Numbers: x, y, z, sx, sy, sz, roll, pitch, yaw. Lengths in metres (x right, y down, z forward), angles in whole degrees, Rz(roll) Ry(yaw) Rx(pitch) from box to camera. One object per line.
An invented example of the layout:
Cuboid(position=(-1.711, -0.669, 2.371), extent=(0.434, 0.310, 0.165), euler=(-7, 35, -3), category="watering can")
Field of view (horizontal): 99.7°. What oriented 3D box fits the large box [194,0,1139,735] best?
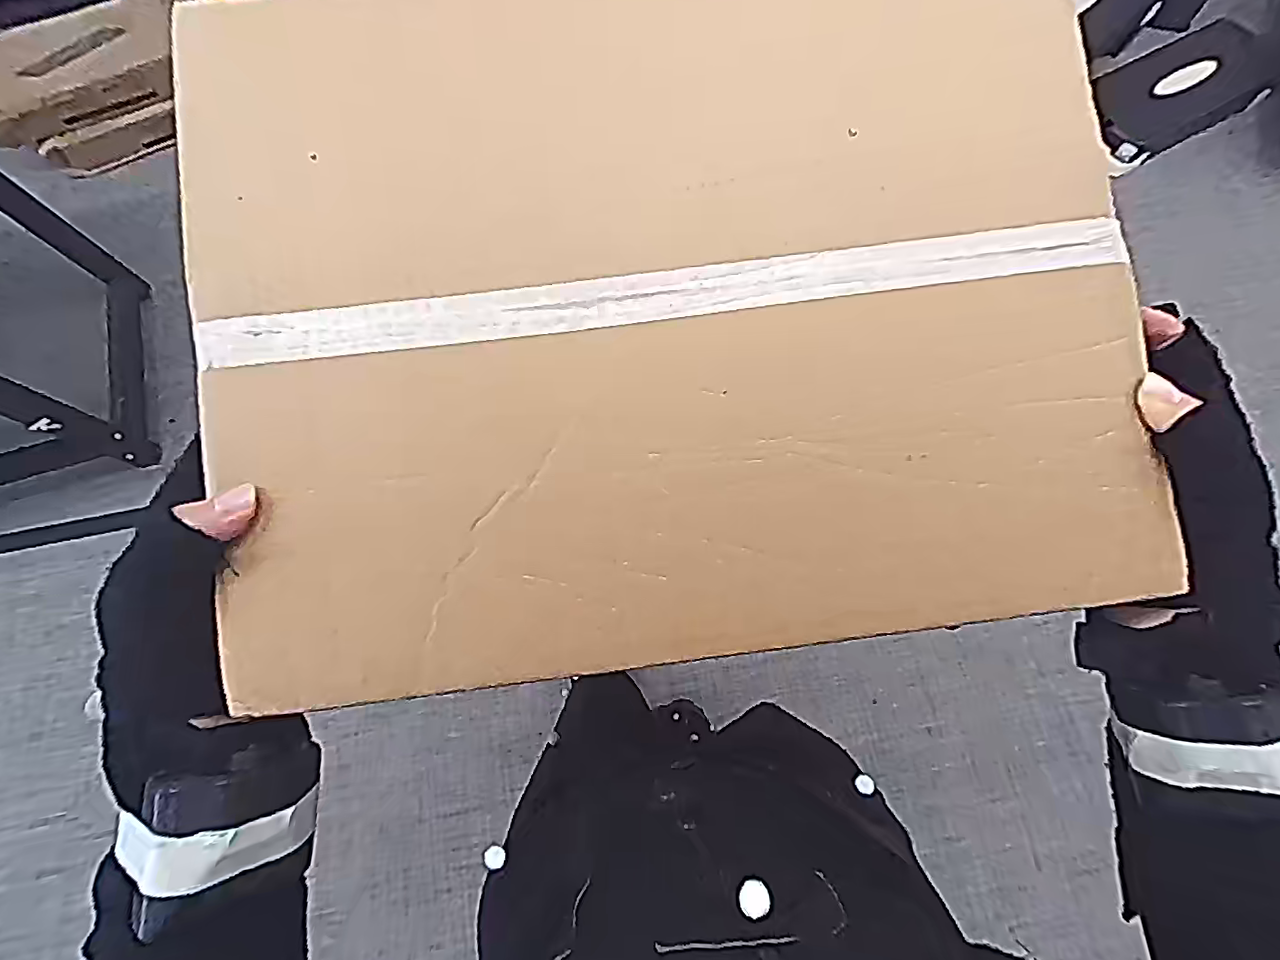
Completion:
Cuboid(position=(0.009, -0.060, 0.394), extent=(0.408, 0.320, 0.320), euler=(-7, 86, -2), category="large box")
